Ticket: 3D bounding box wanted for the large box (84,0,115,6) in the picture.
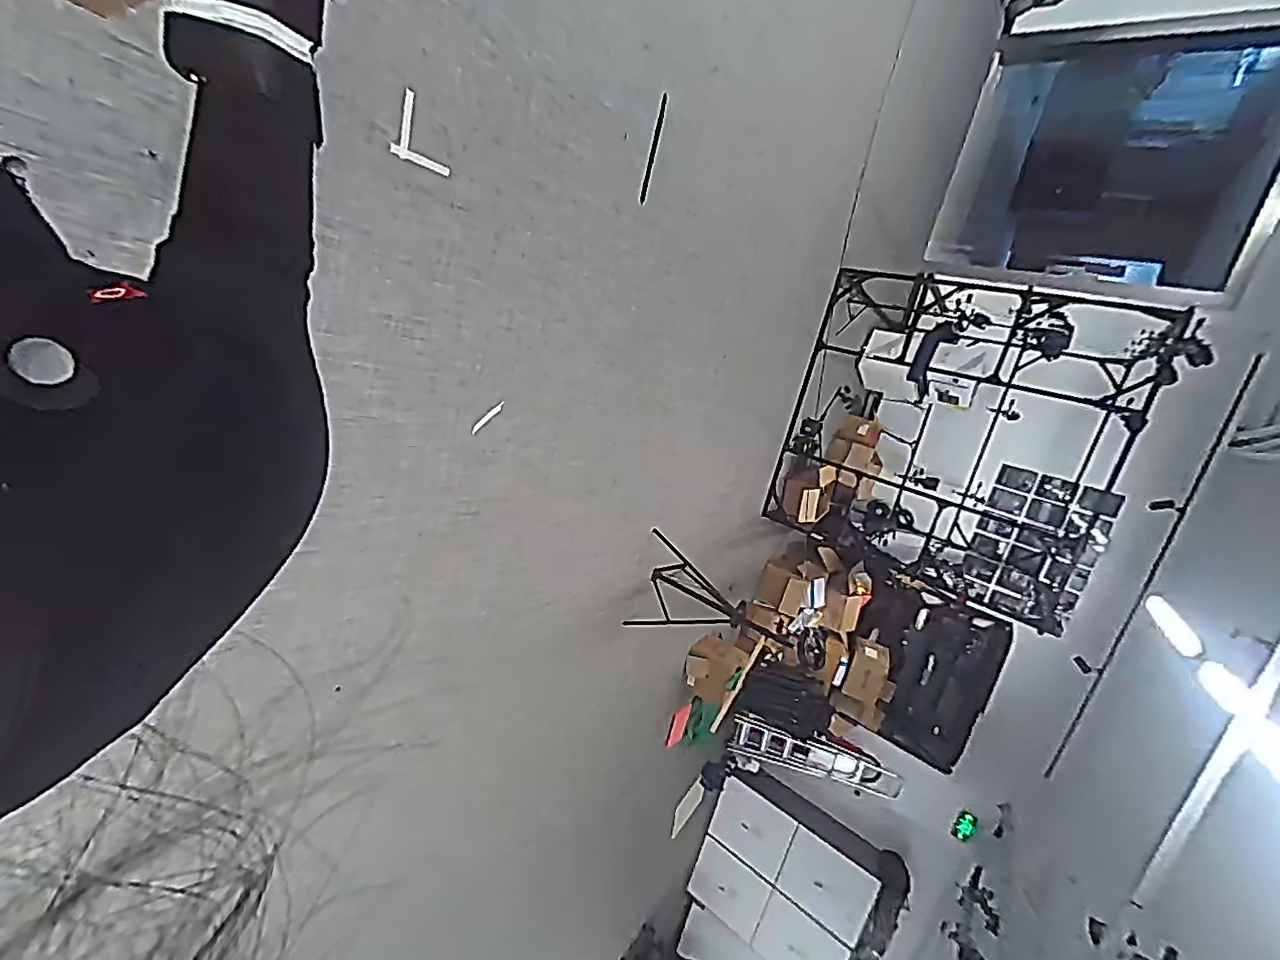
[{"bbox_3d":[-0.448,-0.513,0.223,0.408,0.320,0.320,-2,114,-56],"label":"large box"}]
